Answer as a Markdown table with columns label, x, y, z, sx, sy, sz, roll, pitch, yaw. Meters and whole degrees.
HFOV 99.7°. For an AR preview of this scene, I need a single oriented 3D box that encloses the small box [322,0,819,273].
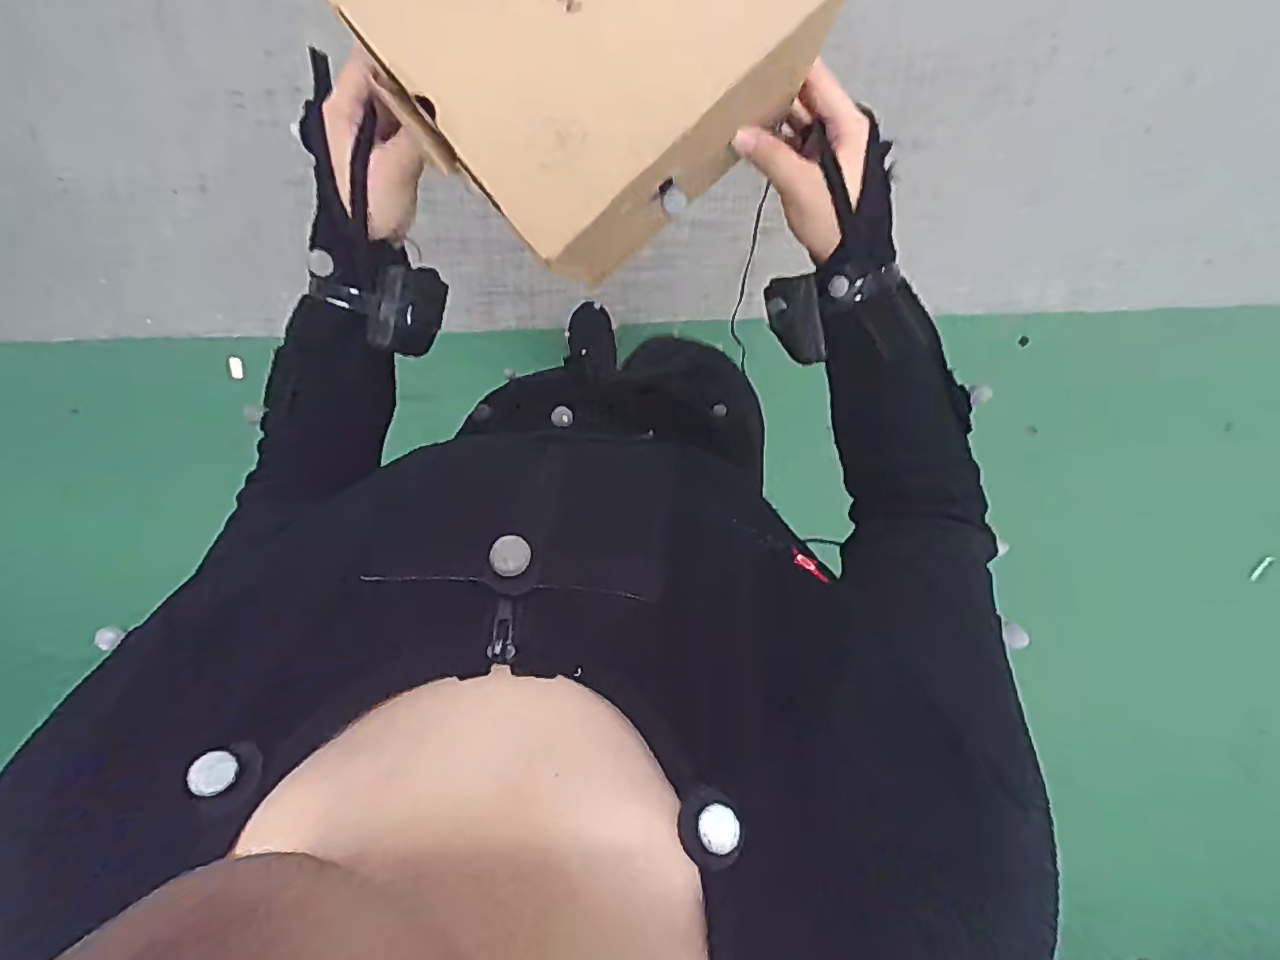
| label | x | y | z | sx | sy | sz | roll | pitch | yaw |
| --- | --- | --- | --- | --- | --- | --- | --- | --- | --- |
| small box | -0.027 | -0.238 | 0.300 | 0.179 | 0.176 | 0.168 | -38 | 100 | 14 |
